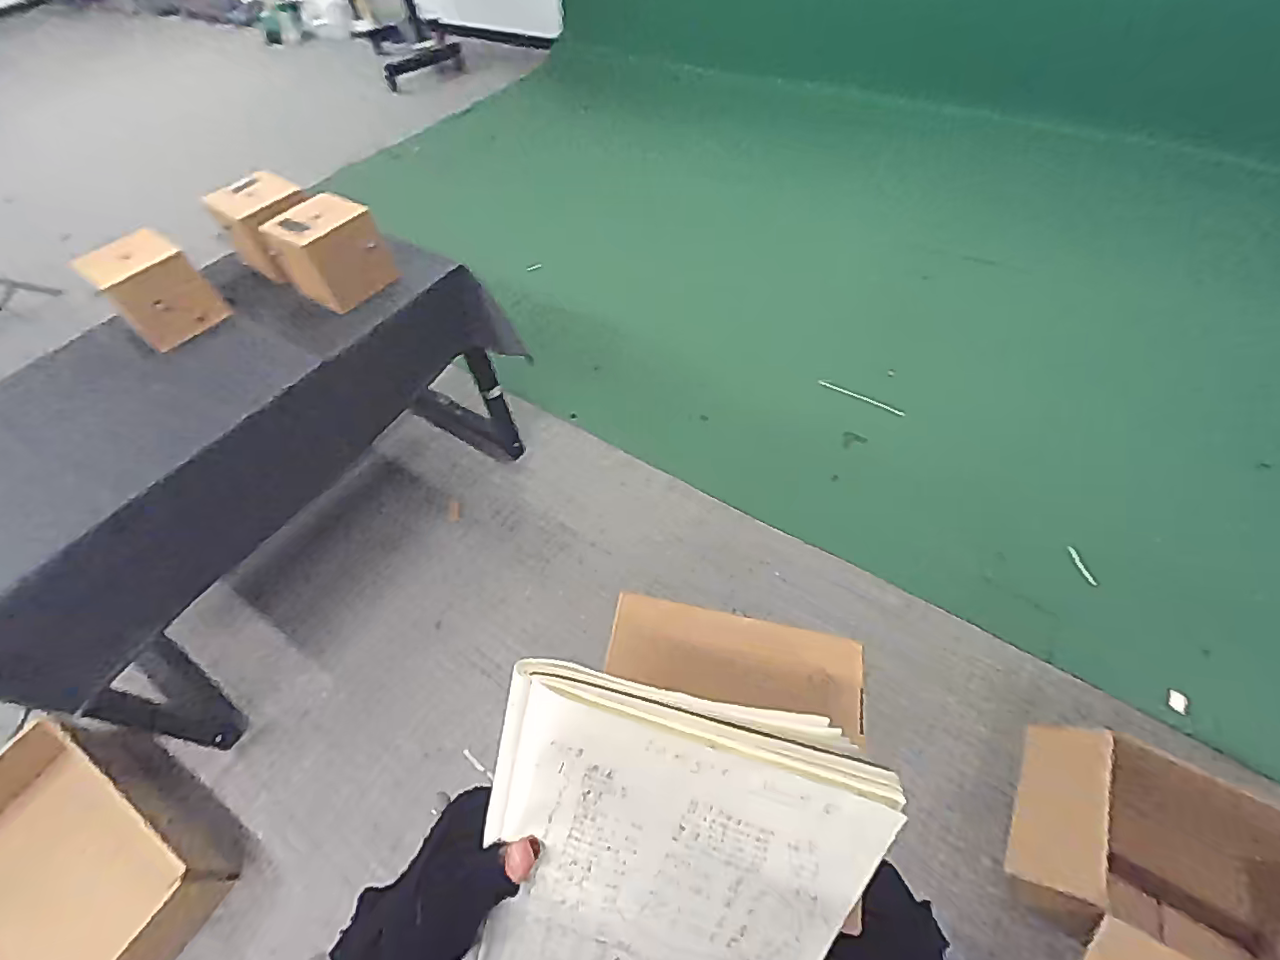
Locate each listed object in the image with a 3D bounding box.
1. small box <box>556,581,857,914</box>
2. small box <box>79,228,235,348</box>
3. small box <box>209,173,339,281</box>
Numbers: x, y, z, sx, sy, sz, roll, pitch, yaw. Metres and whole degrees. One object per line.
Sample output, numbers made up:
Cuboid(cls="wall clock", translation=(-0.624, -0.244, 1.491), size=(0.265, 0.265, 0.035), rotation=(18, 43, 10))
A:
Cuboid(cls="small box", translation=(0.047, 0.196, 0.417), size=(0.179, 0.176, 0.168), rotation=(11, 61, 3))
Cuboid(cls="small box", translation=(-1.064, -0.423, 1.206), size=(0.179, 0.176, 0.168), rotation=(30, 62, 24))
Cuboid(cls="small box", translation=(-0.892, -0.620, 1.331), size=(0.179, 0.176, 0.168), rotation=(31, 63, 23))
